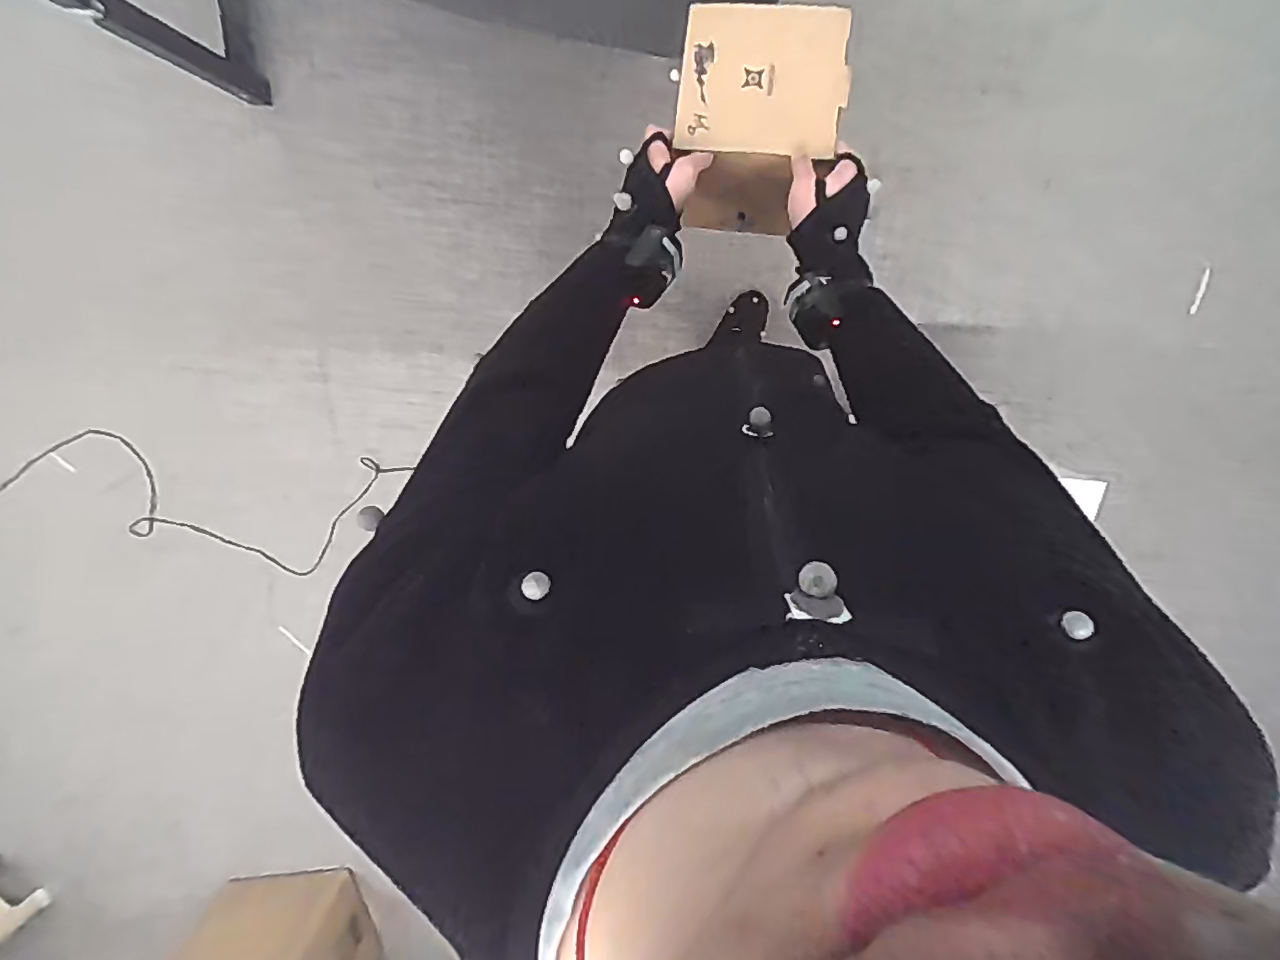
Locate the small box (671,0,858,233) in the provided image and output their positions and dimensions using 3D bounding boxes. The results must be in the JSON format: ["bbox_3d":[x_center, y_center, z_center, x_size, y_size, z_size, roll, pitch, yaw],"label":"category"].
[{"bbox_3d":[0.135,-0.418,0.645,0.179,0.176,0.168,7,87,3],"label":"small box"}]
